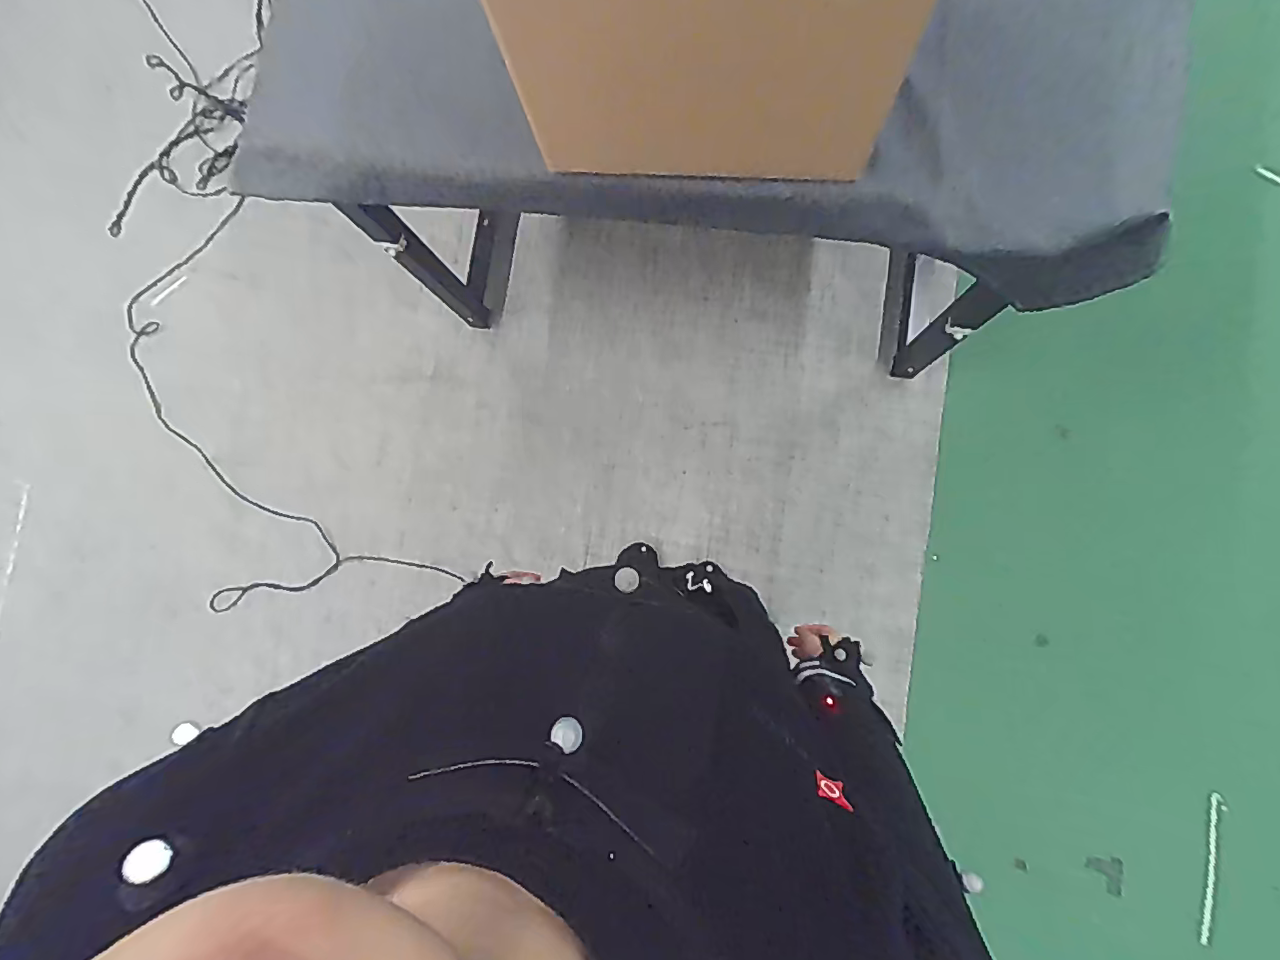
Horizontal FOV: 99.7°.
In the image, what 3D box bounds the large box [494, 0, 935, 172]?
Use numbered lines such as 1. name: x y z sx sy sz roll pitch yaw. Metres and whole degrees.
1. large box: 0.076 -0.565 0.569 0.408 0.320 0.320 5 84 5
